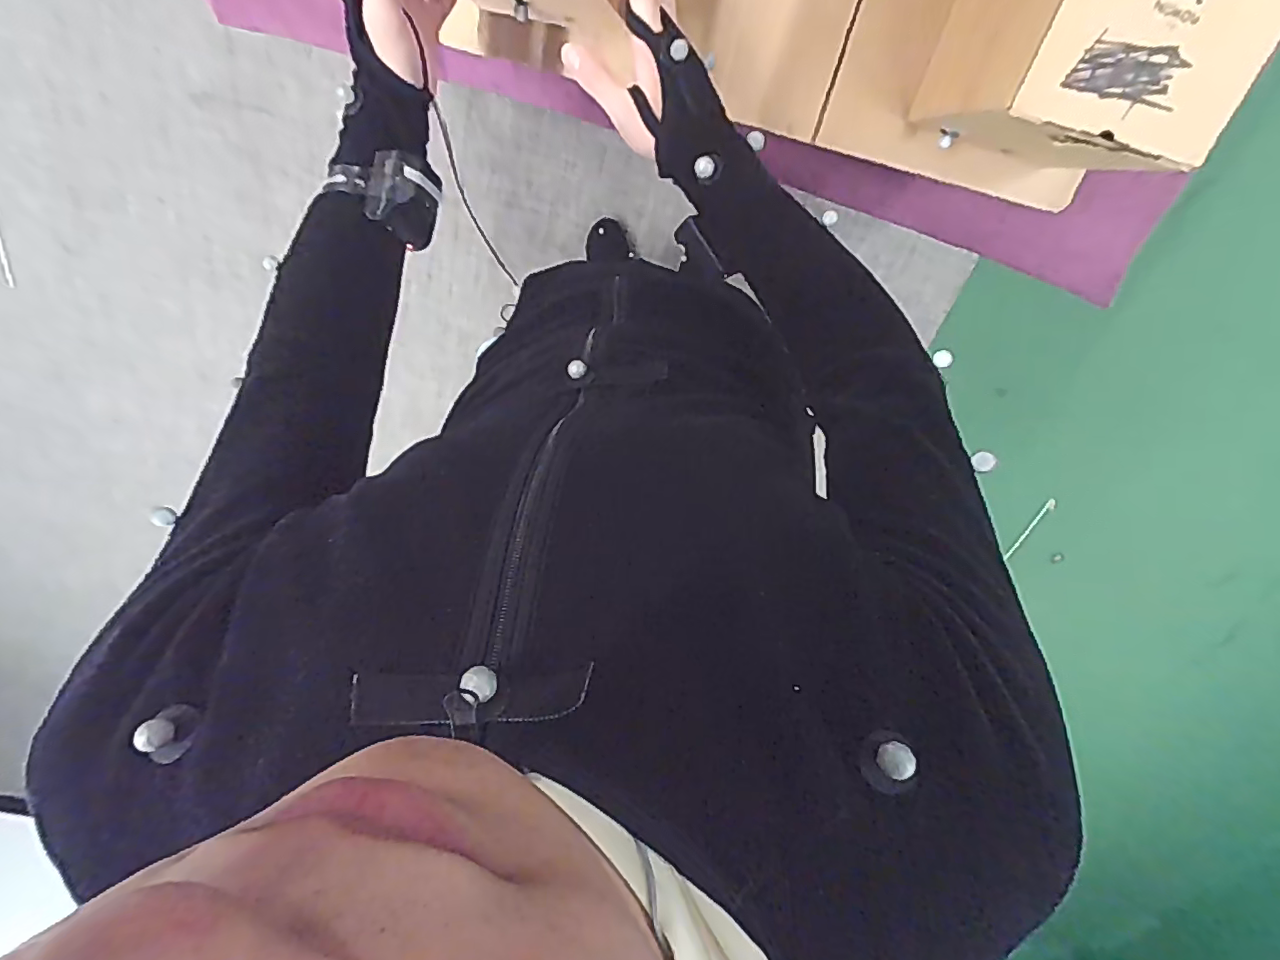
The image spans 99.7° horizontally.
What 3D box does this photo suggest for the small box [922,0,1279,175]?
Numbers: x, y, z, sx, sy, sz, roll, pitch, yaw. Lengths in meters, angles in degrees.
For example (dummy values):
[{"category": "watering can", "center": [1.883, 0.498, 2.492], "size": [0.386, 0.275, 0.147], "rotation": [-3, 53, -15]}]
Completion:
[{"category": "small box", "center": [0.364, -0.363, 0.434], "size": [0.168, 0.176, 0.179], "rotation": [10, 119, -8]}]
